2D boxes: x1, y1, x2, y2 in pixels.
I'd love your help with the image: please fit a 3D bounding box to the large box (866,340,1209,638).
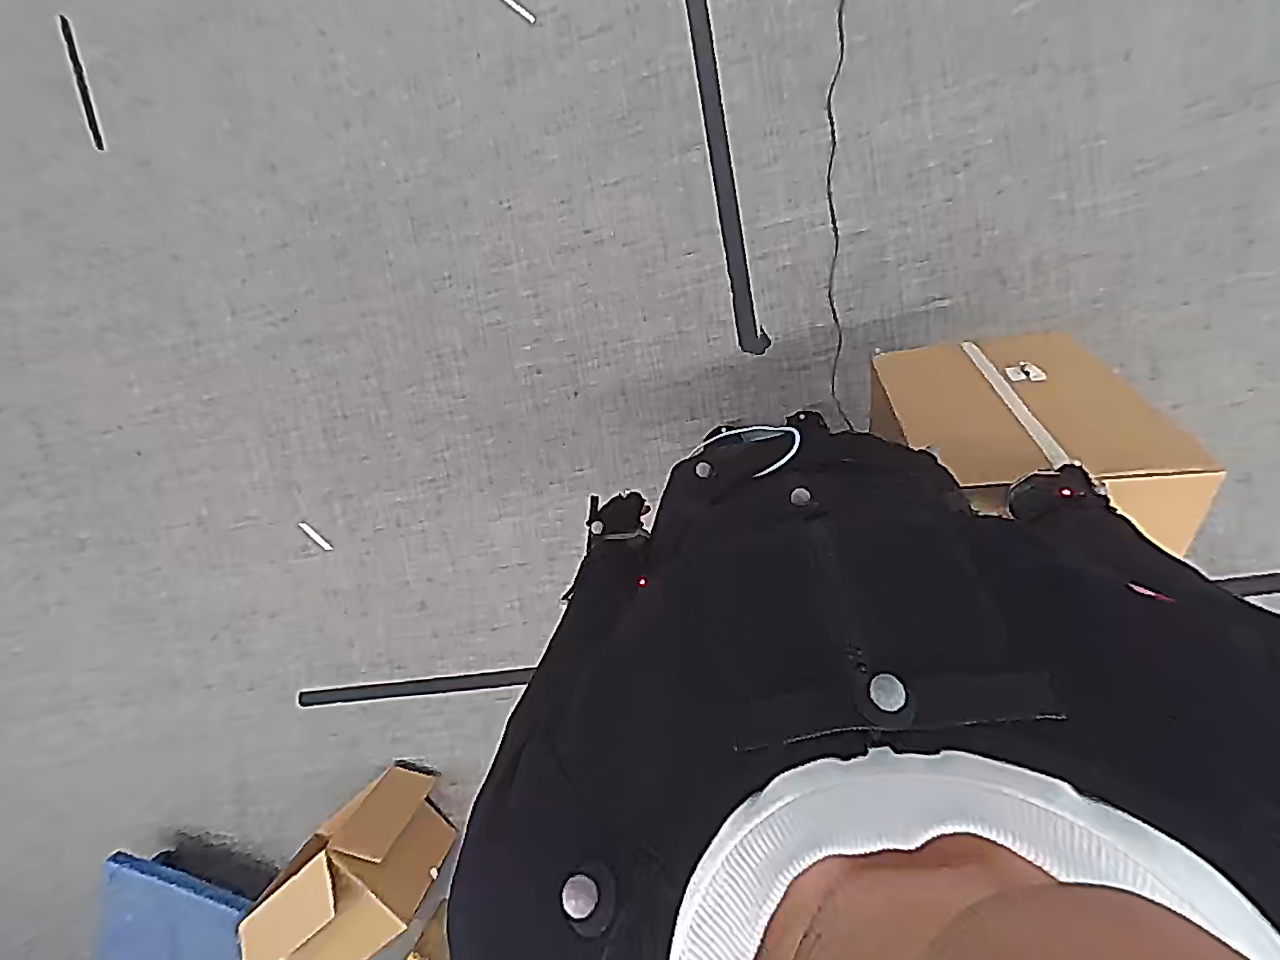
[{"bbox_3d":[0.581,0.006,0.905,0.320,0.408,0.320,-4,125,13],"label":"large box"}]
